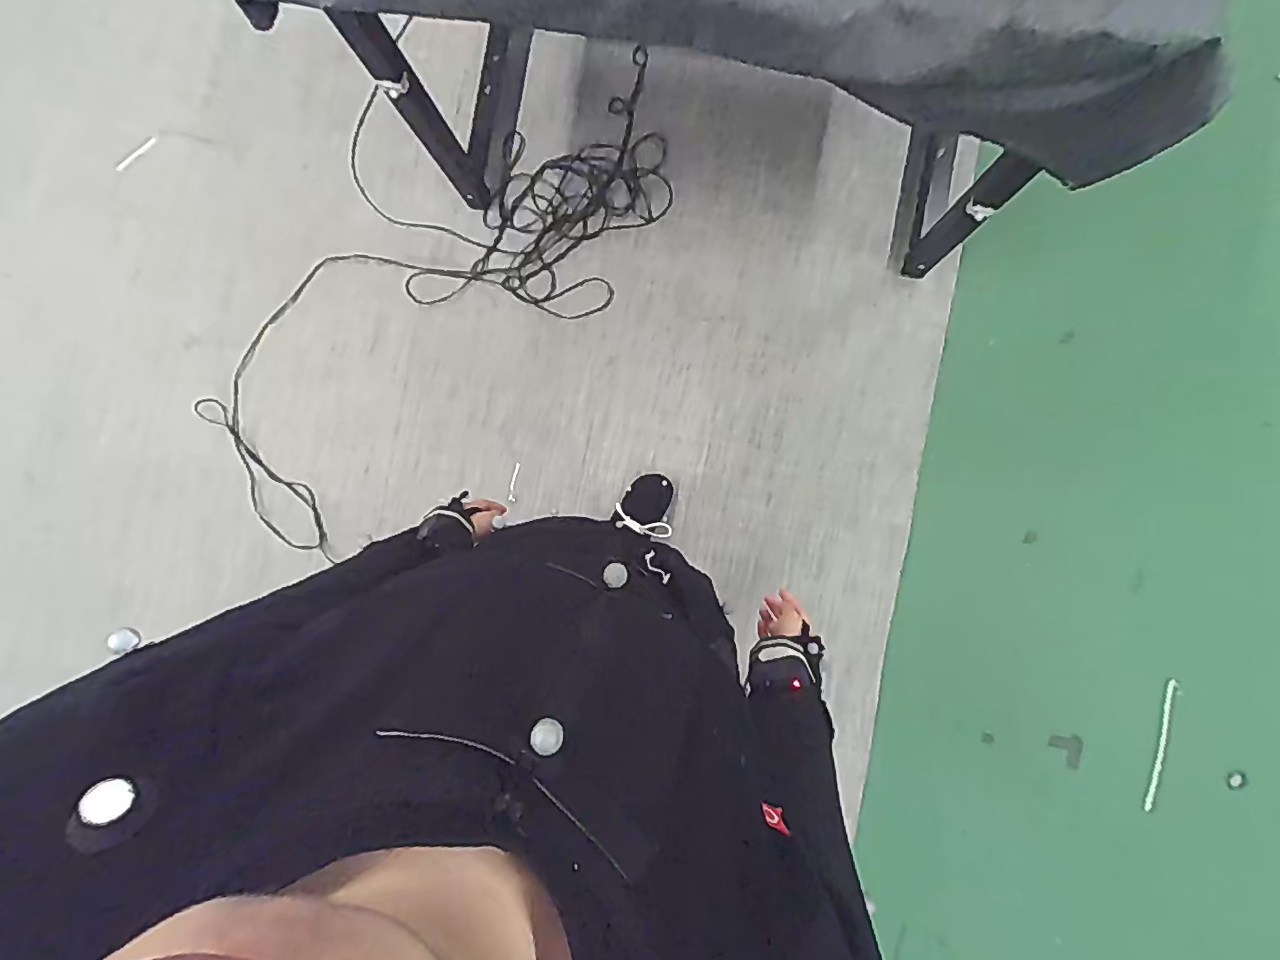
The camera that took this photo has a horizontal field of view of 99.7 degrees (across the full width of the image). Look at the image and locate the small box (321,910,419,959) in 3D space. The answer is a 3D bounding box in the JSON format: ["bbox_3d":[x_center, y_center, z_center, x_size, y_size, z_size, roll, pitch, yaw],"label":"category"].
[{"bbox_3d":[-0.660,1.190,1.303,0.179,0.176,0.168,10,90,4],"label":"small box"}]
